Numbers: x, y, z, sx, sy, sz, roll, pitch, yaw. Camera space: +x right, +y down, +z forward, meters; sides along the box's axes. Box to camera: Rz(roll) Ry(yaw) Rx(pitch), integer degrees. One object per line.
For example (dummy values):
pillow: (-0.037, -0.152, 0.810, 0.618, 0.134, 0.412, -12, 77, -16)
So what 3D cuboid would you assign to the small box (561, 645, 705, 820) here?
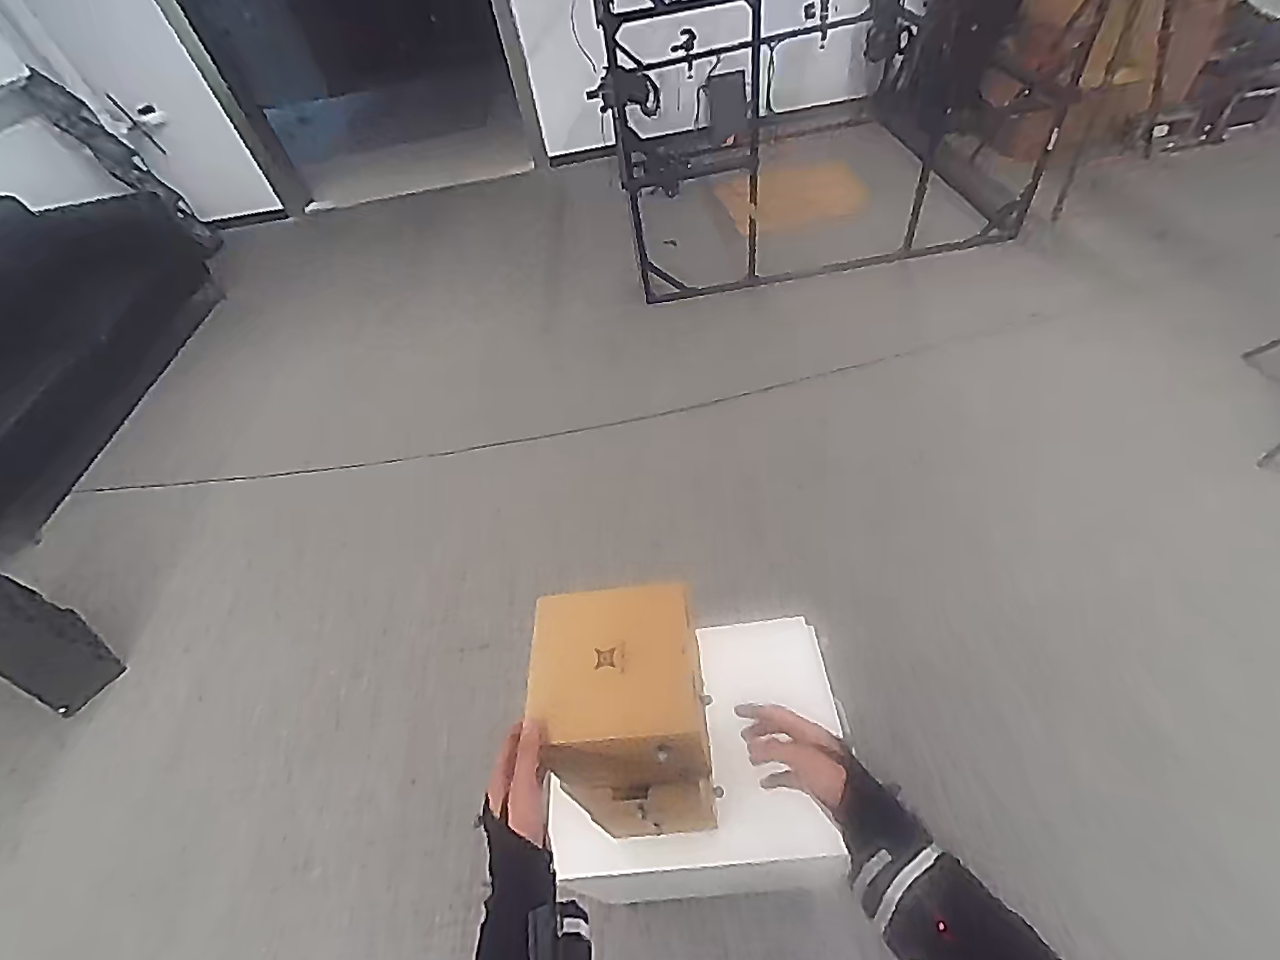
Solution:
small box: (-0.003, 0.351, 0.748, 0.168, 0.176, 0.179, -7, 48, 7)
